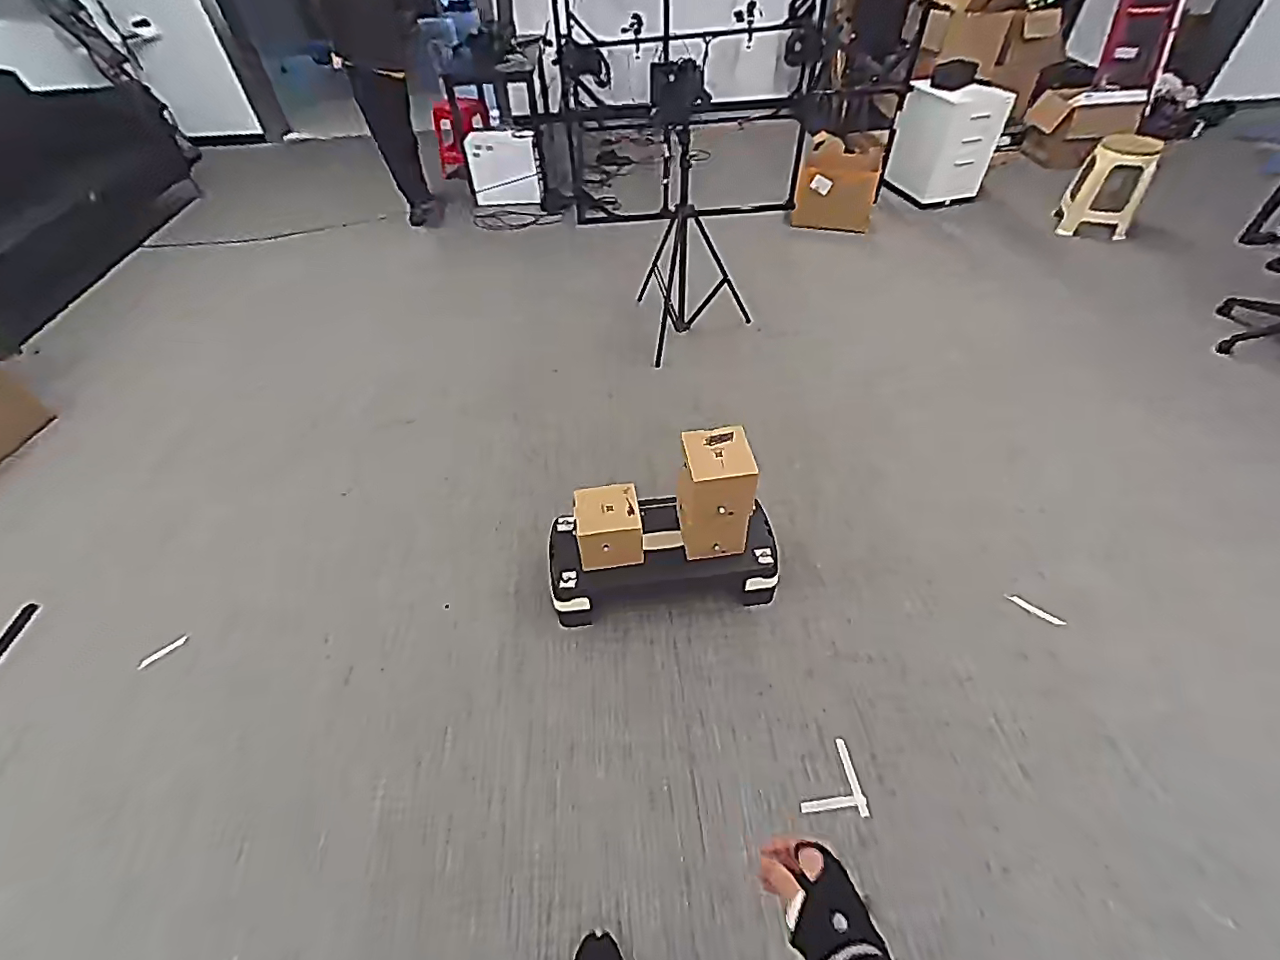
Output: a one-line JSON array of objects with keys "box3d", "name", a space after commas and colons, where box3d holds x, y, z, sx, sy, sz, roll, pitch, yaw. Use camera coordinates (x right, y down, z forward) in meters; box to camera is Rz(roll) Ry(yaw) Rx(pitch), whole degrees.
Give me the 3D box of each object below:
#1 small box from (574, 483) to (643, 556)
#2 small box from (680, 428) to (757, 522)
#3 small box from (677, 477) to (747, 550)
[{"box3d": [-0.088, 0.134, 1.541, 0.179, 0.176, 0.168, -8, 48, -4], "name": "small box"}, {"box3d": [0.201, -0.013, 1.437, 0.168, 0.176, 0.179, -8, 49, -3], "name": "small box"}, {"box3d": [0.200, 0.101, 1.555, 0.168, 0.176, 0.179, -7, 48, -3], "name": "small box"}]
